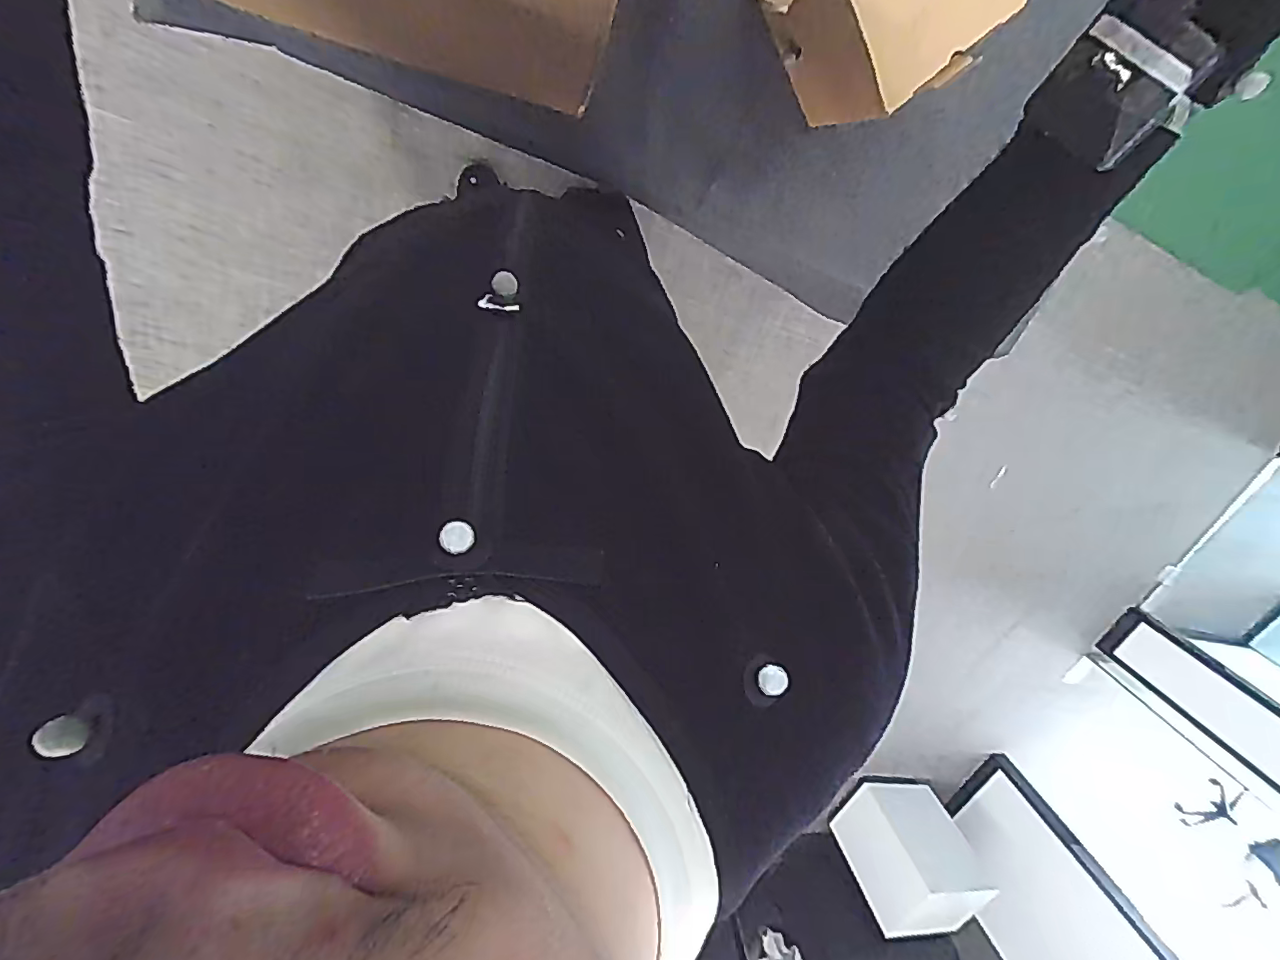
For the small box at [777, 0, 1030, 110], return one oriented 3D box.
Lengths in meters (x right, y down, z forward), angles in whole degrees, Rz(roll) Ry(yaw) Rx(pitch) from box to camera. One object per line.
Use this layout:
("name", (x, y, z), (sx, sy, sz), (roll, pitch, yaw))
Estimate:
("small box", (0.261, -0.527, 0.567), (0.168, 0.176, 0.179), (-34, 123, 9))
